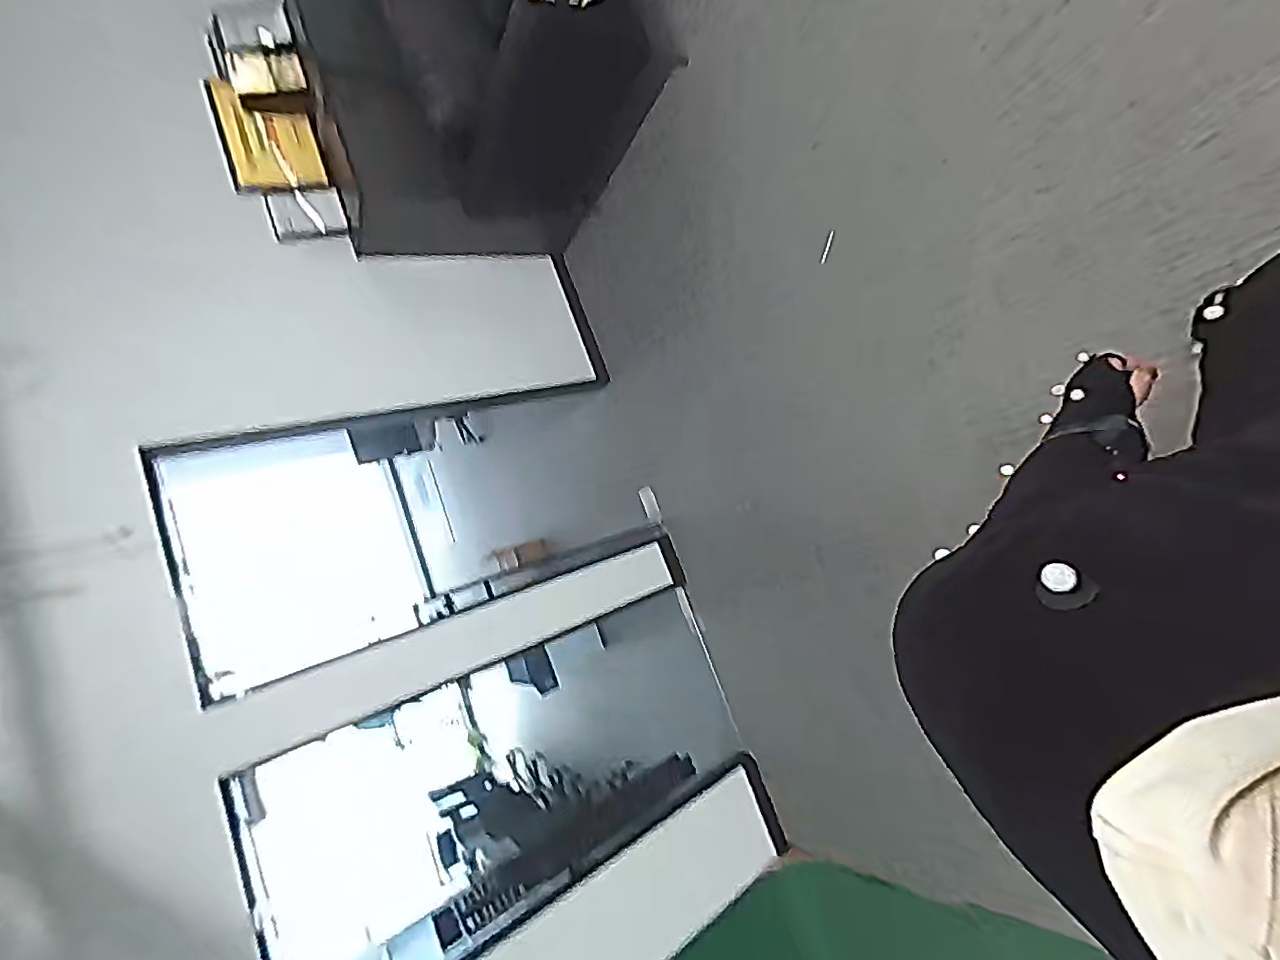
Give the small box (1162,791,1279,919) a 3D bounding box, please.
[{"bbox_3d":[1.342,0.830,1.214,0.179,0.176,0.168,-35,74,56],"label":"small box"}]
